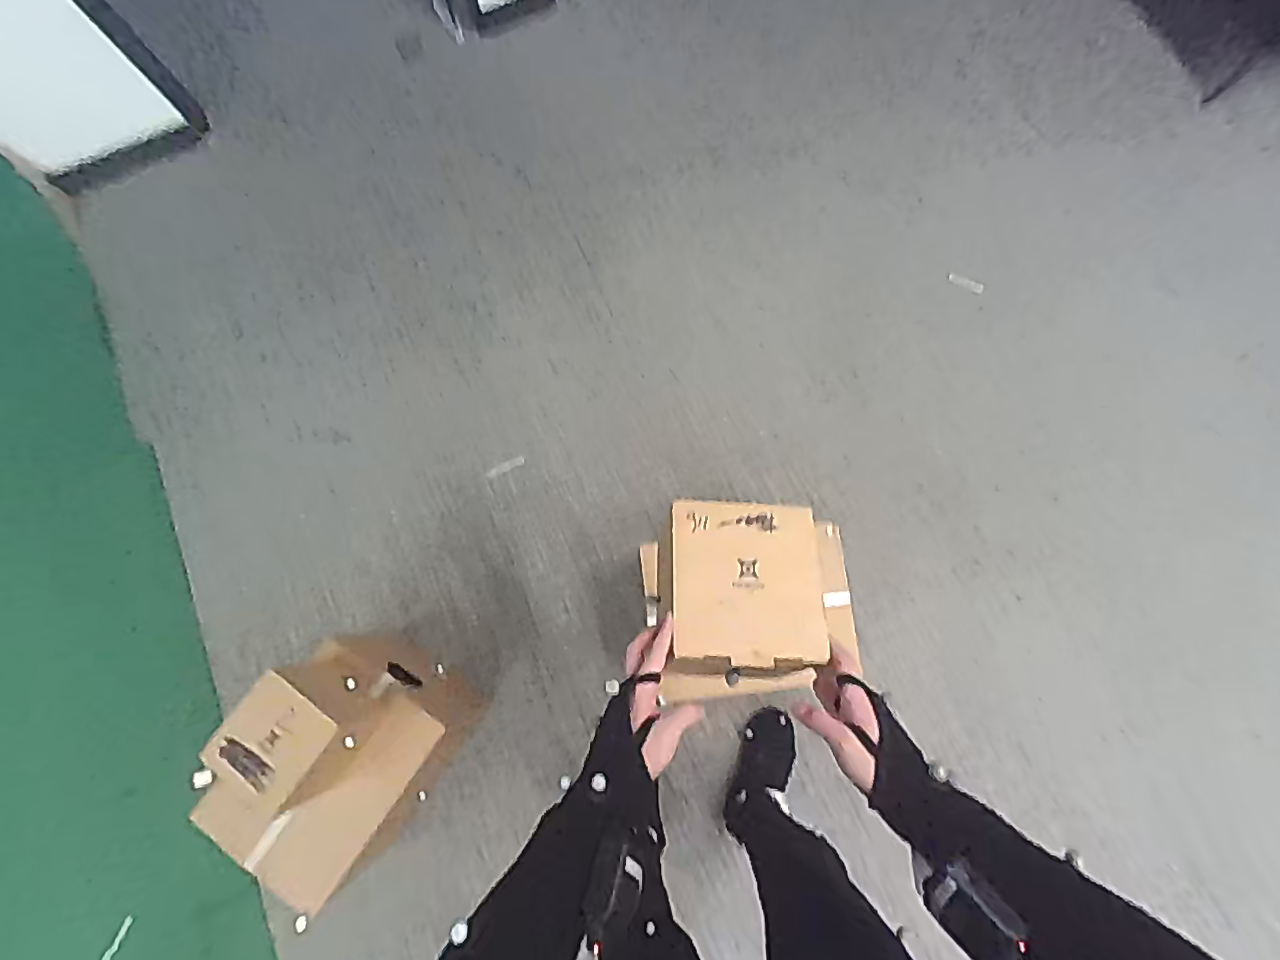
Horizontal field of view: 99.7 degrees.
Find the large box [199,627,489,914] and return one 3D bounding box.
[{"bbox_3d":[-0.602,0.581,1.181,0.320,0.320,0.408,33,81,9],"label":"large box"}]

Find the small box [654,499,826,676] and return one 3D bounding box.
[{"bbox_3d":[0.108,0.139,0.655,0.168,0.176,0.179,3,65,-3],"label":"small box"}]
